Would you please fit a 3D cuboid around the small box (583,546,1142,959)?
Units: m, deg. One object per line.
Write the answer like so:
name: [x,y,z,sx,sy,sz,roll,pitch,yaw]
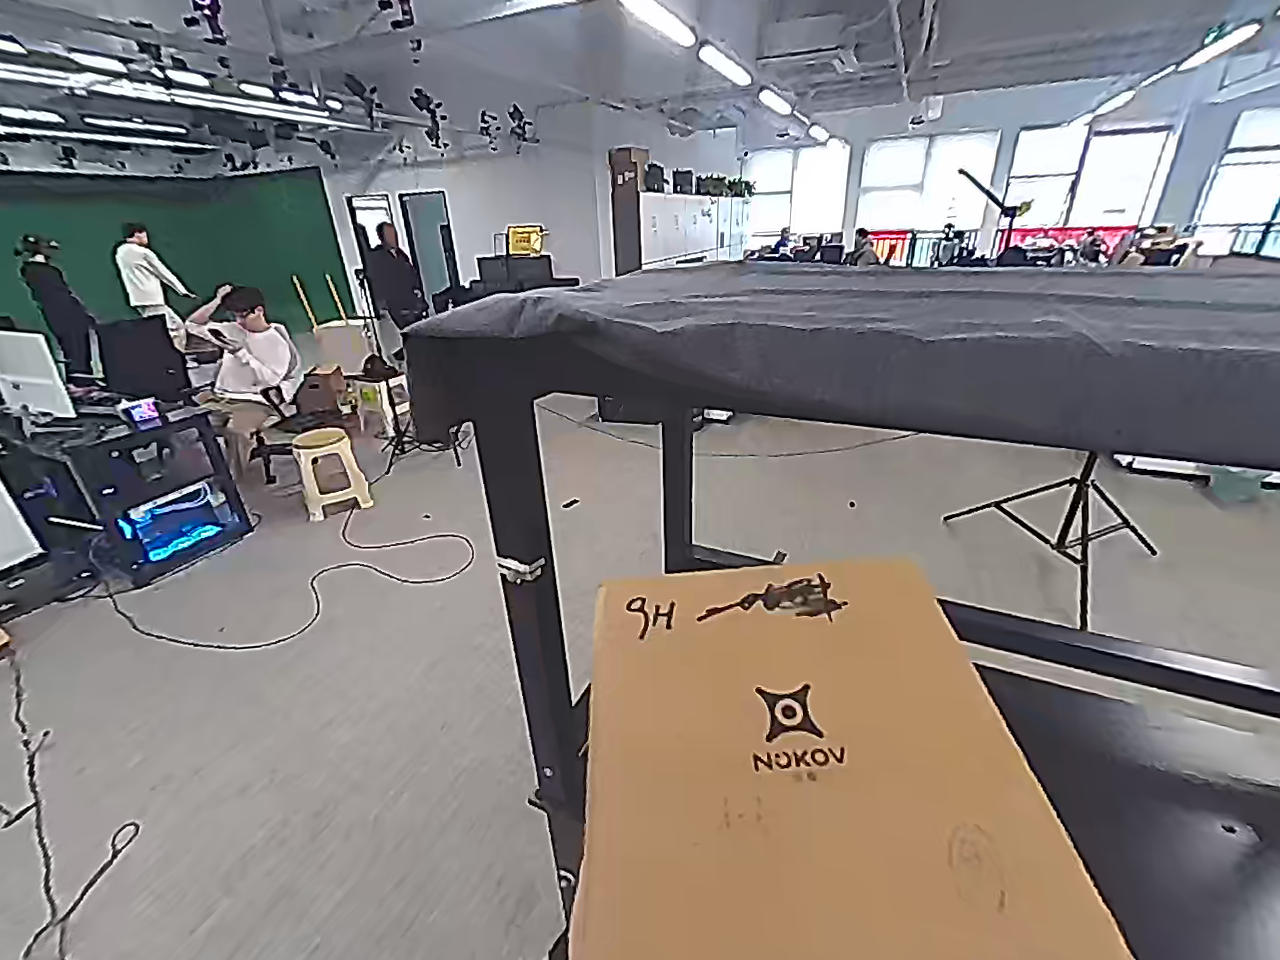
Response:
small box: [0.068,0.157,0.263,0.168,0.176,0.179,-4,42,1]
